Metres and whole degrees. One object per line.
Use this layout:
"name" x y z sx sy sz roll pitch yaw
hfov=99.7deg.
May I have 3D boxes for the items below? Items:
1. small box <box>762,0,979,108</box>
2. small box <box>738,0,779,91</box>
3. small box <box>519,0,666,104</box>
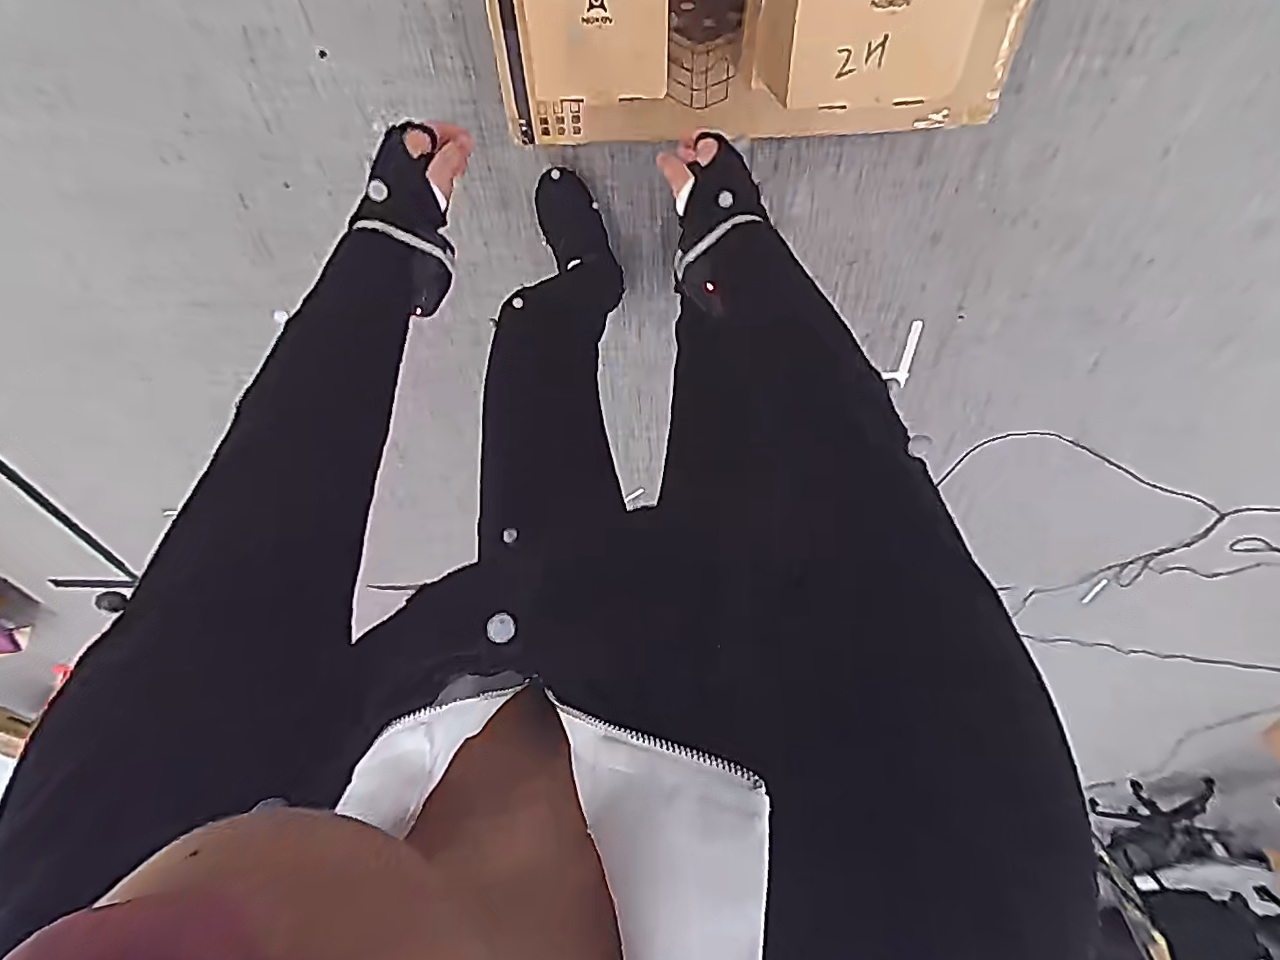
"small box" 0.218 -0.486 0.529 0.168 0.176 0.179 -1 134 3
"small box" 0.217 -0.591 0.657 0.168 0.176 0.179 2 135 0
"small box" -0.051 -0.588 0.667 0.168 0.176 0.179 1 135 2
